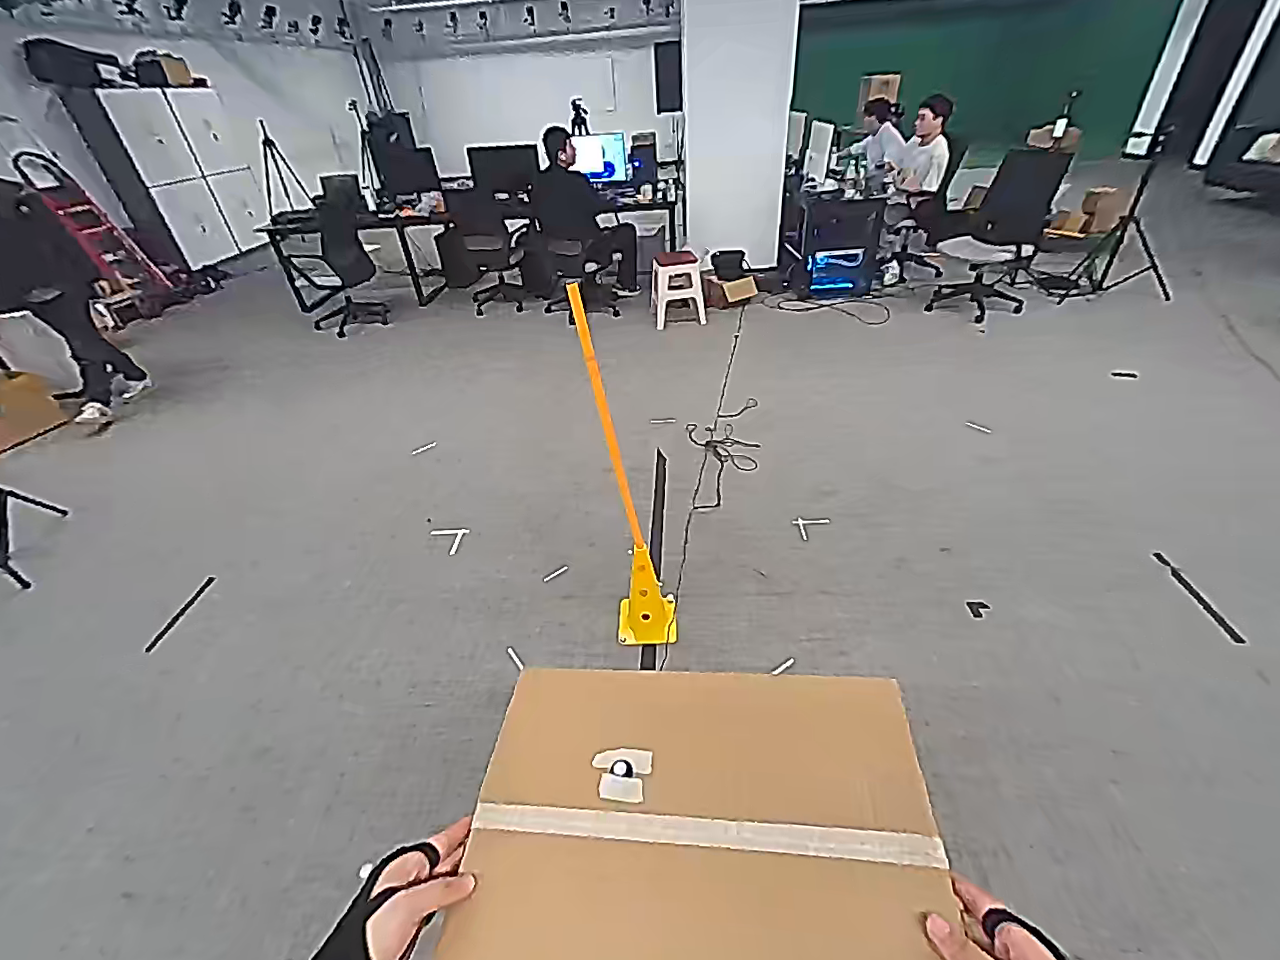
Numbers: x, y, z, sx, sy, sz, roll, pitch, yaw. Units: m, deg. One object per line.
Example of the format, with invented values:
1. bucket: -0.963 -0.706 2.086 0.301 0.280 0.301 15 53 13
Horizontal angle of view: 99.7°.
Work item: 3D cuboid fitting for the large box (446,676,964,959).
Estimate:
1. large box: 0.072 0.430 0.571 0.408 0.320 0.320 -4 37 11
